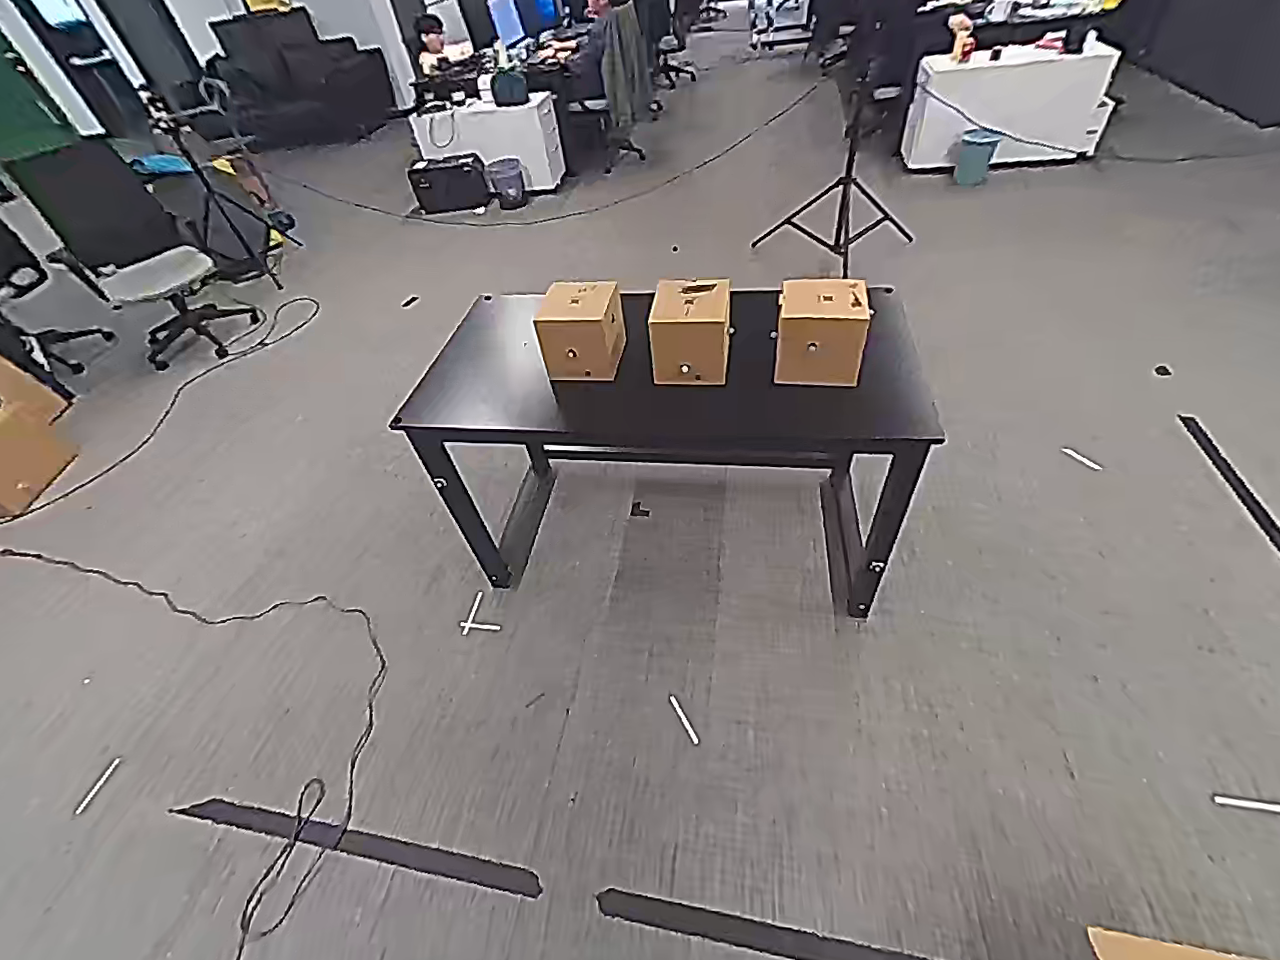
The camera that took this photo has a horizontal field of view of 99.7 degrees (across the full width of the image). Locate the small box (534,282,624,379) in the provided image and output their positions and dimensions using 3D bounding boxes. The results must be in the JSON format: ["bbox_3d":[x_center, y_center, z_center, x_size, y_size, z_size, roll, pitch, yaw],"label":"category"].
[{"bbox_3d":[-0.138,-0.359,1.310,0.168,0.176,0.179,3,47,11],"label":"small box"}]

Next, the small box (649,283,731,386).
[{"bbox_3d":[0.120,-0.338,1.253,0.168,0.176,0.179,3,48,11],"label":"small box"}]

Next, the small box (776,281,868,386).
[{"bbox_3d":[0.395,-0.322,1.196,0.179,0.176,0.168,4,48,14],"label":"small box"}]
